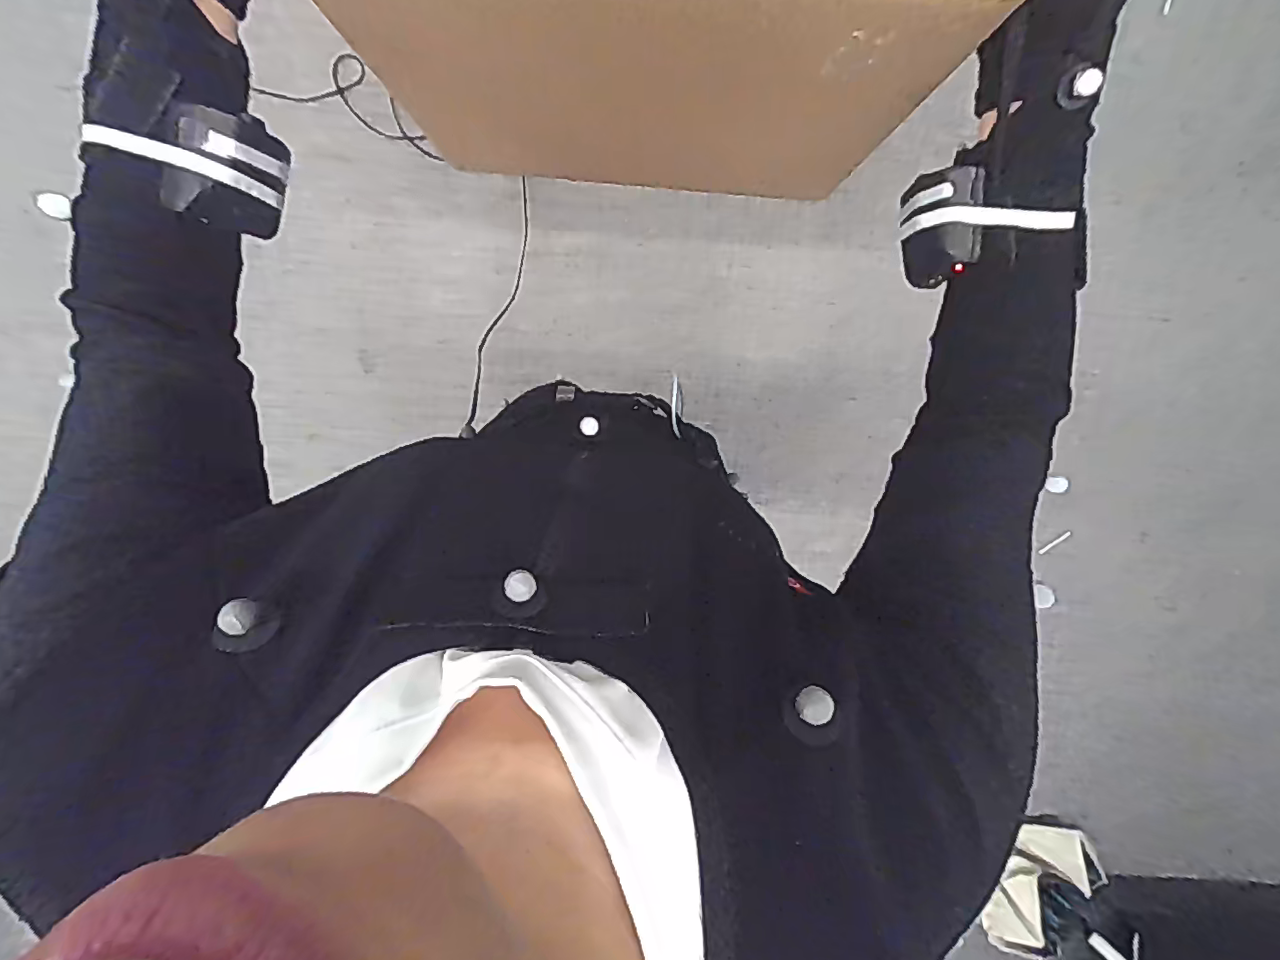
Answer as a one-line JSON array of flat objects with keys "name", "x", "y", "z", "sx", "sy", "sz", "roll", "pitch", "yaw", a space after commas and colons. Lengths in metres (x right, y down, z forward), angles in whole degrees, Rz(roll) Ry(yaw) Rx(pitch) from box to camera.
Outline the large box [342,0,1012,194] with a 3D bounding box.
[{"name": "large box", "x": 0.016, "y": -0.445, "z": 0.414, "sx": 0.408, "sy": 0.320, "sz": 0.320, "roll": 3, "pitch": 100, "yaw": -2}]
